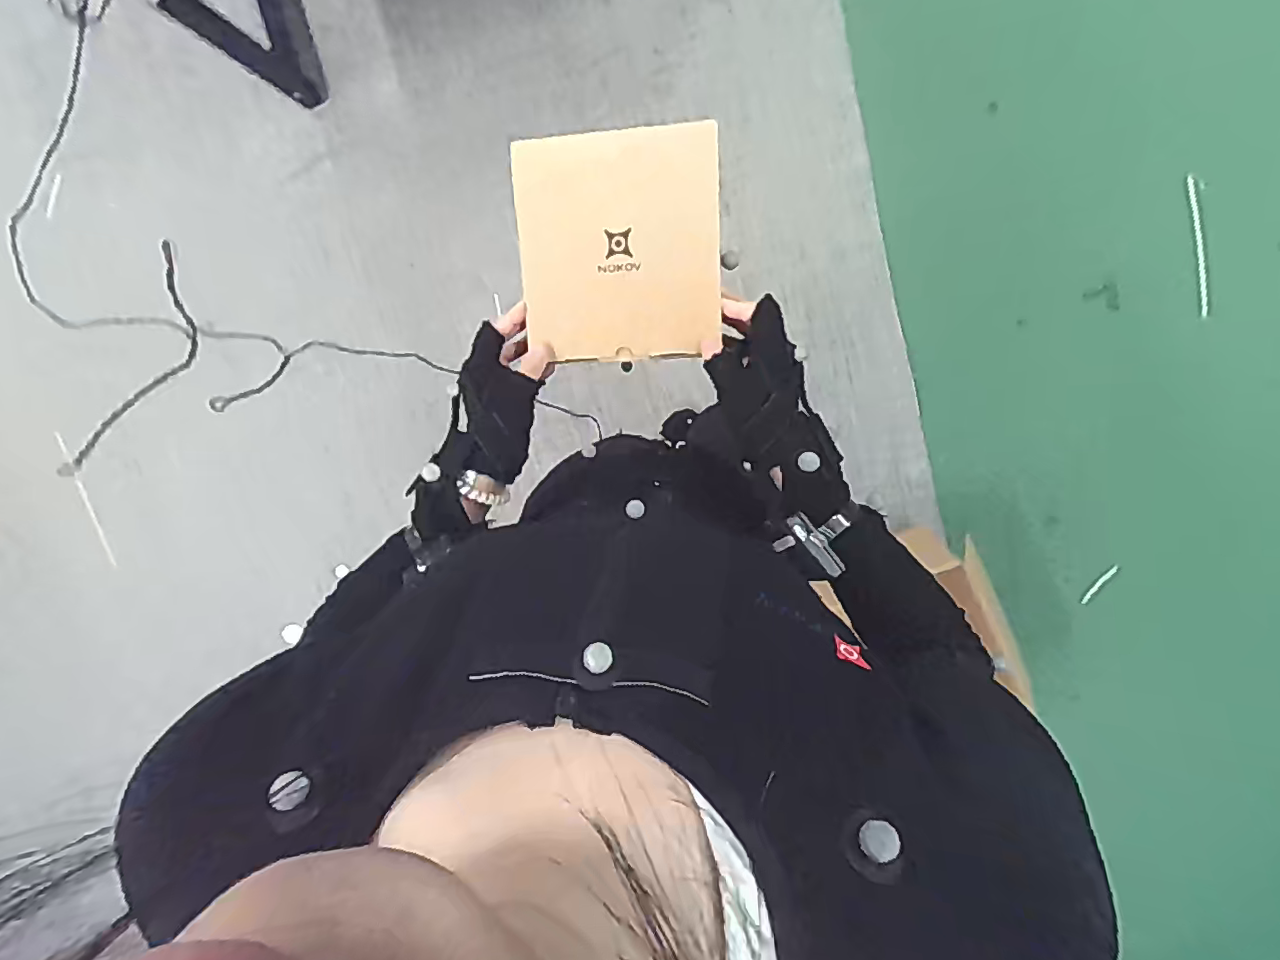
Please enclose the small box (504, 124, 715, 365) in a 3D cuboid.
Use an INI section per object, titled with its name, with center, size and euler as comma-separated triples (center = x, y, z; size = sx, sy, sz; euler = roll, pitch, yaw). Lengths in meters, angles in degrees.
[small box]
center = -0.016, -0.204, 0.518
size = 0.168, 0.176, 0.179
euler = -3, 104, 7
